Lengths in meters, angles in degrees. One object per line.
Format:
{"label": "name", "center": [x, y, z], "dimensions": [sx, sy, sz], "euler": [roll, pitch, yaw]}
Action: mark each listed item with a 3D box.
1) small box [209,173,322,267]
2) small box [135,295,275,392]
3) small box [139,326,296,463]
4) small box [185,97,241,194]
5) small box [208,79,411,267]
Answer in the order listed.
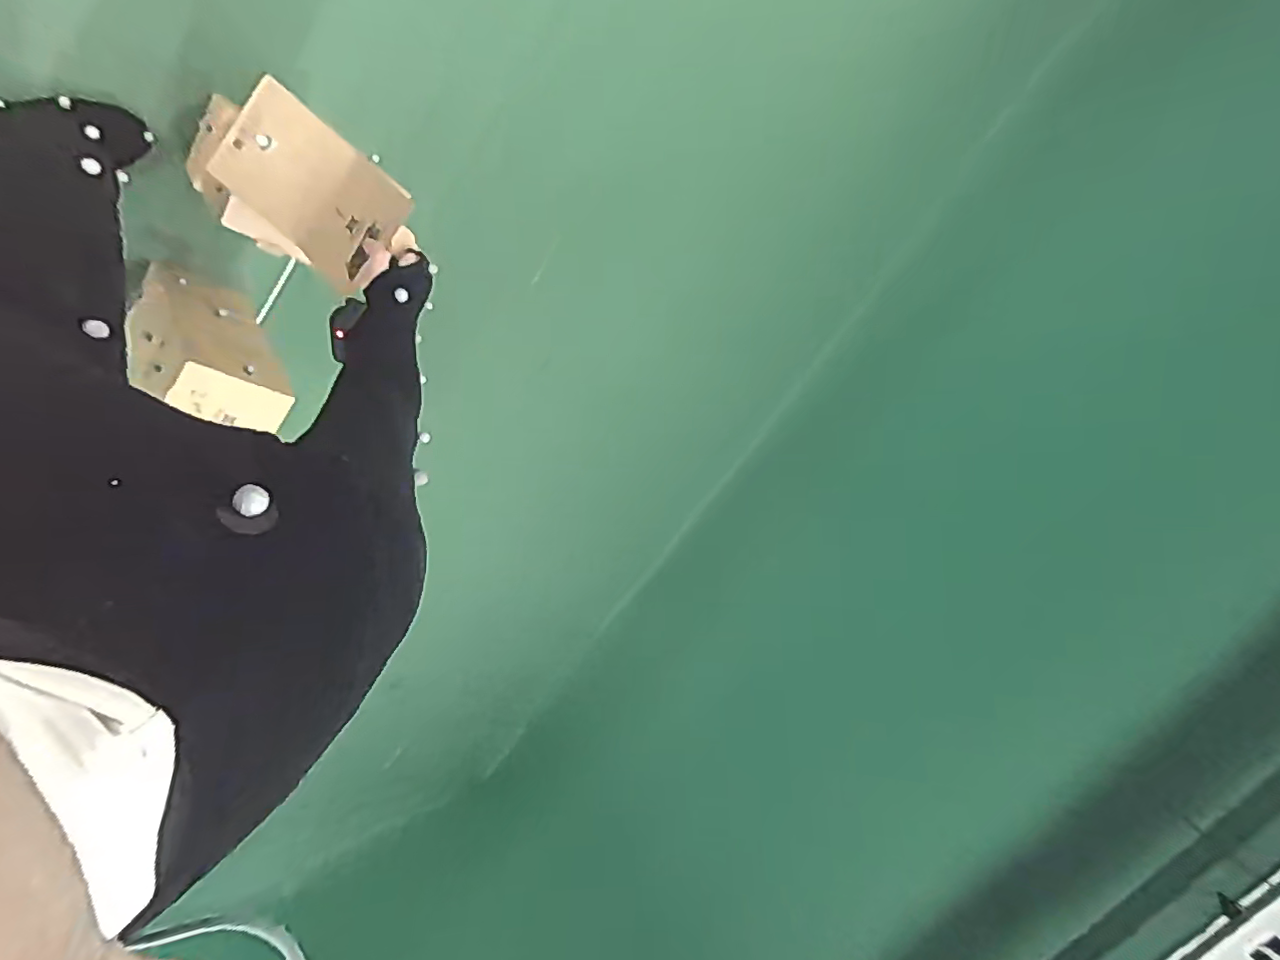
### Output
{"label": "small box", "center": [-0.691, -0.550, 1.034], "dimensions": [0.168, 0.176, 0.179], "euler": [17, 112, -54]}
{"label": "small box", "center": [-0.898, -0.255, 1.113], "dimensions": [0.168, 0.176, 0.179], "euler": [-52, 144, 11]}
{"label": "small box", "center": [-0.798, -0.162, 1.021], "dimensions": [0.168, 0.176, 0.179], "euler": [-52, 145, 9]}
{"label": "small box", "center": [-0.797, -0.647, 1.112], "dimensions": [0.179, 0.176, 0.168], "euler": [17, 112, -54]}
{"label": "small box", "center": [-0.510, -0.473, 0.853], "dimensions": [0.168, 0.176, 0.179], "euler": [-49, -174, 9]}
